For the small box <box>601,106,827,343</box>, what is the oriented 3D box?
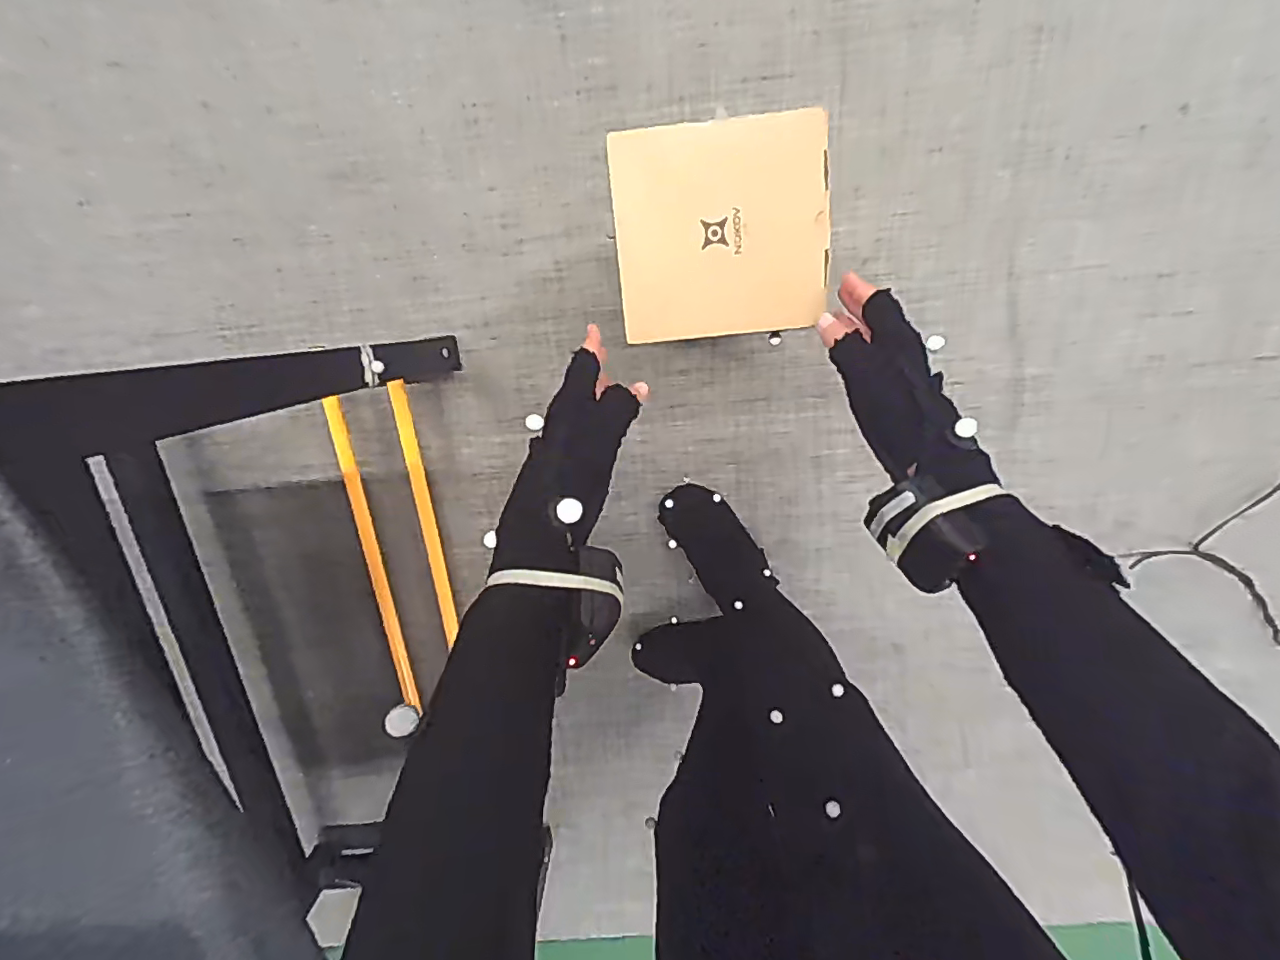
[{"bbox_3d":[0.067,-0.224,0.515,0.179,0.176,0.168,-5,108,4],"label":"small box"}]
